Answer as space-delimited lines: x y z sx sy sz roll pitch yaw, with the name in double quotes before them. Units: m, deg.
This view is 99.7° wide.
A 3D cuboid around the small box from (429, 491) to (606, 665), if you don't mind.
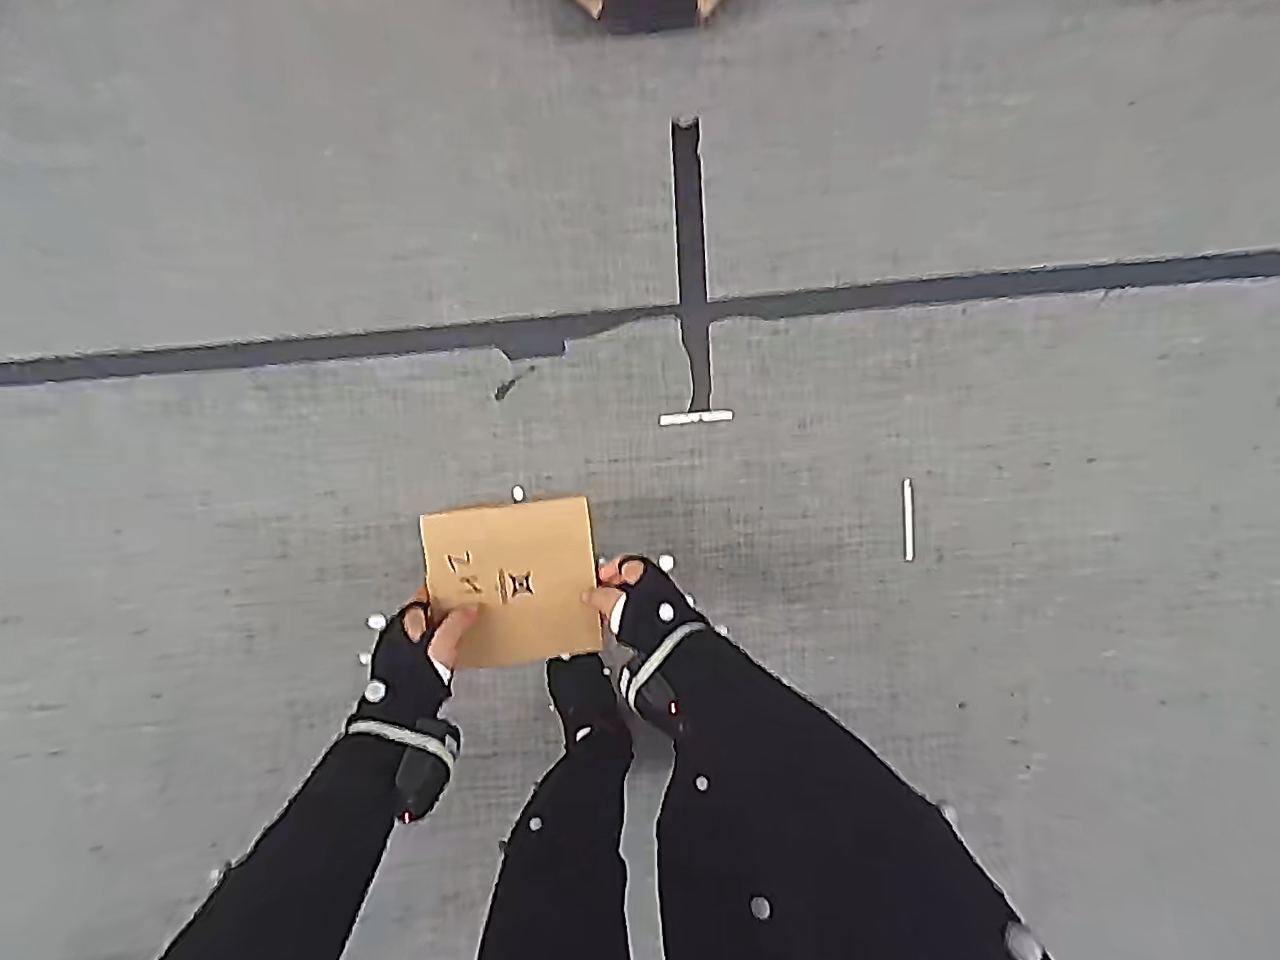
"small box" -0.138 0.106 0.659 0.179 0.176 0.168 -6 93 -5
